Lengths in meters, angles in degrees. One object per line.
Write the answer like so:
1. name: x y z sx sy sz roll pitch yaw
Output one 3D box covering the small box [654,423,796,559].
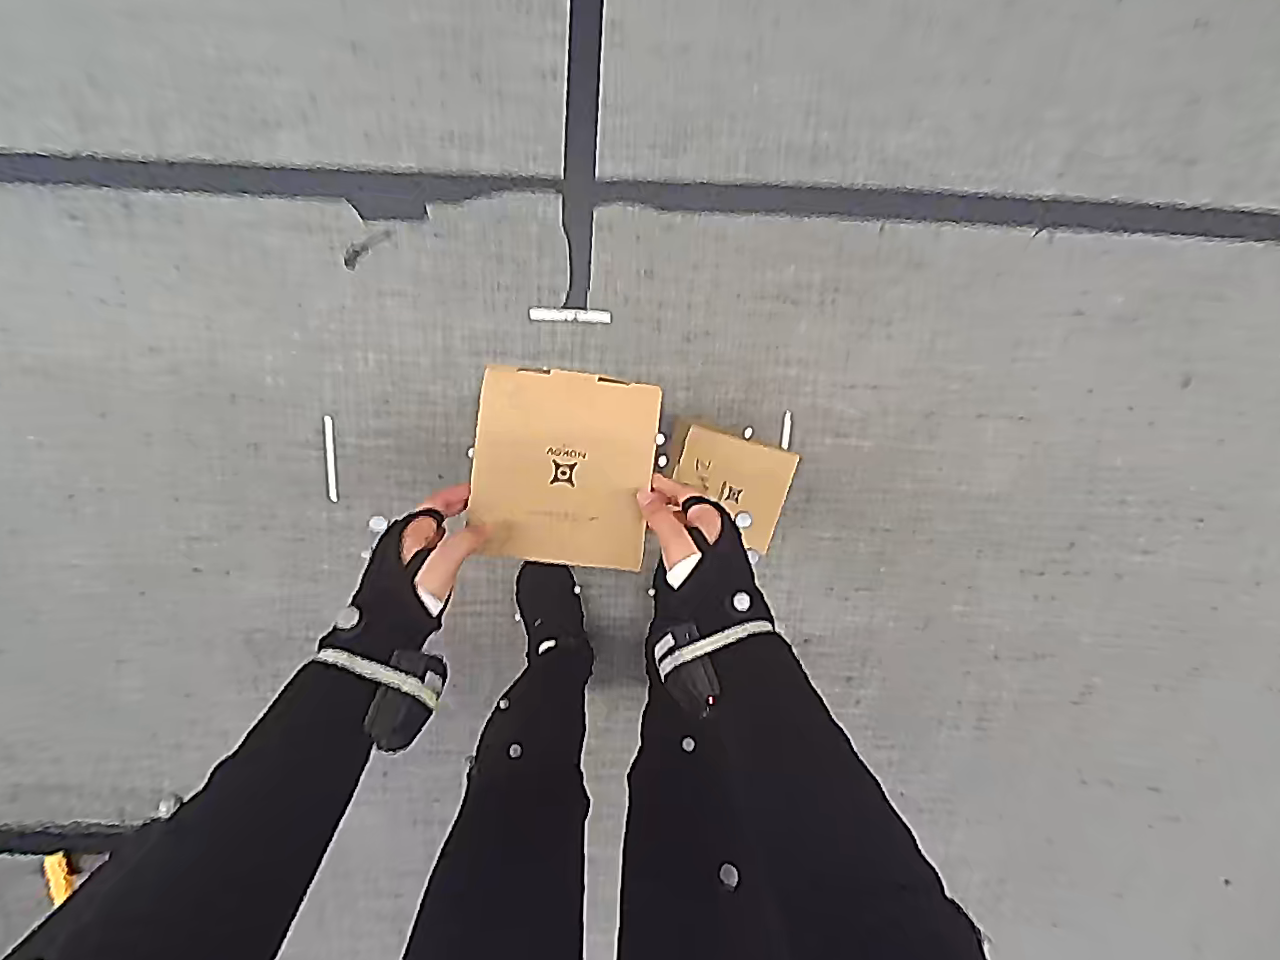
1. small box: 0.131 0.009 0.906 0.179 0.176 0.168 15 102 -5
